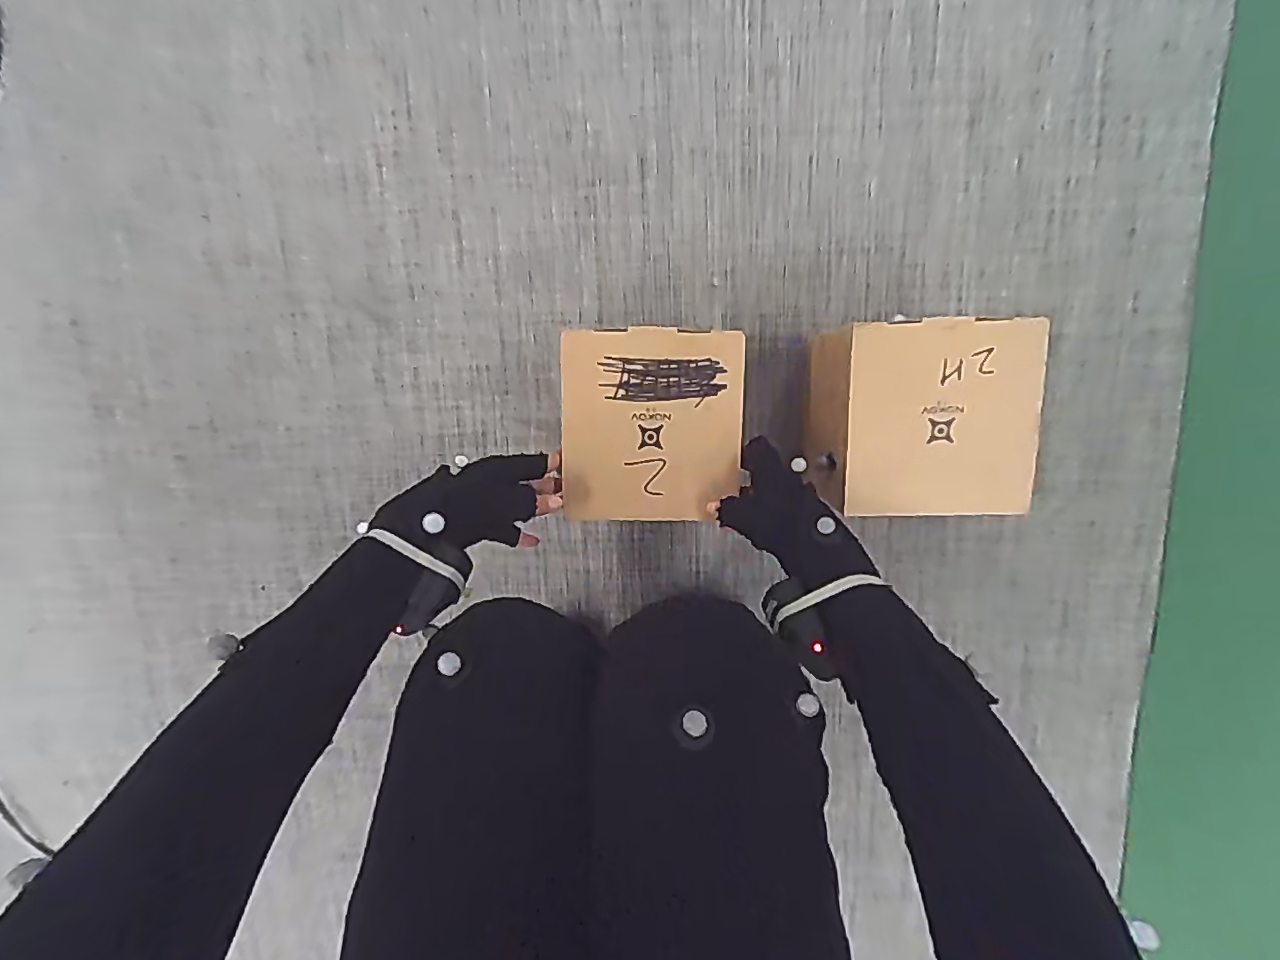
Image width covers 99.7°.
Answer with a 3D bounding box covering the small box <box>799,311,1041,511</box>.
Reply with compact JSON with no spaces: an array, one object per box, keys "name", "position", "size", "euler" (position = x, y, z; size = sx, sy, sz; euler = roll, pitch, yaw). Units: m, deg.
[{"name":"small box","position":[0.266,-0.073,0.557],"size":[0.168,0.176,0.179],"euler":[-1,100,4]}]
